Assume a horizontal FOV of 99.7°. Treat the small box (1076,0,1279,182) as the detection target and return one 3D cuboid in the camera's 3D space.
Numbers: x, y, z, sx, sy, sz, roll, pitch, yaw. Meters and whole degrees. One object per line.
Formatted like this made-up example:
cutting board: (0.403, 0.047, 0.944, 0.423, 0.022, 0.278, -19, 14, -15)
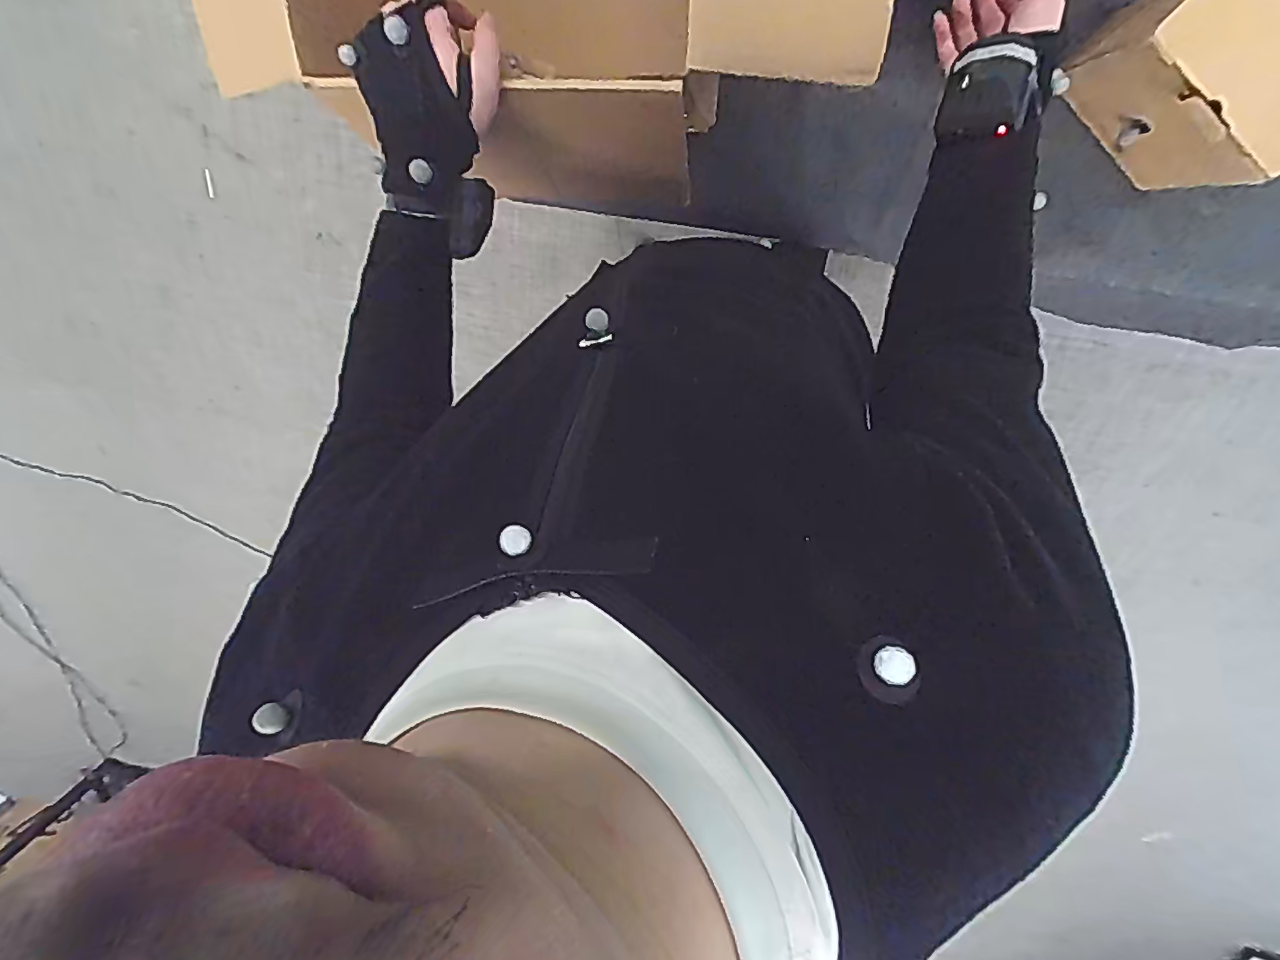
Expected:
small box: (0.539, -0.393, 0.478, 0.168, 0.176, 0.179, 41, 118, -10)
